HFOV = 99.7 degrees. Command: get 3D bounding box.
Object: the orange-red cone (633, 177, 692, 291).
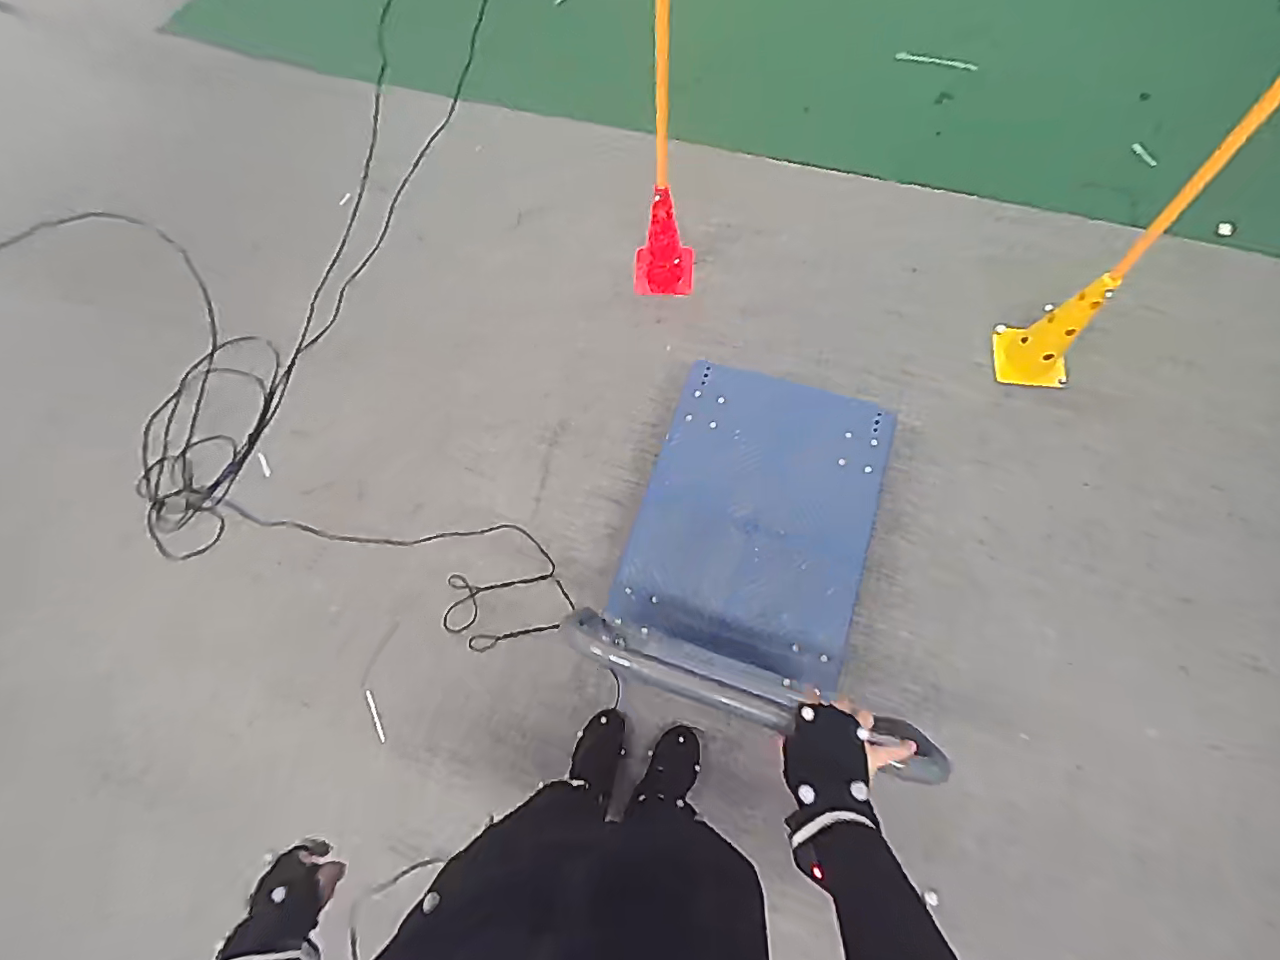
[{"bbox_3d":[0.063,-0.787,1.698,0.199,0.360,0.198,2,71,6],"label":"orange-red cone"}]
